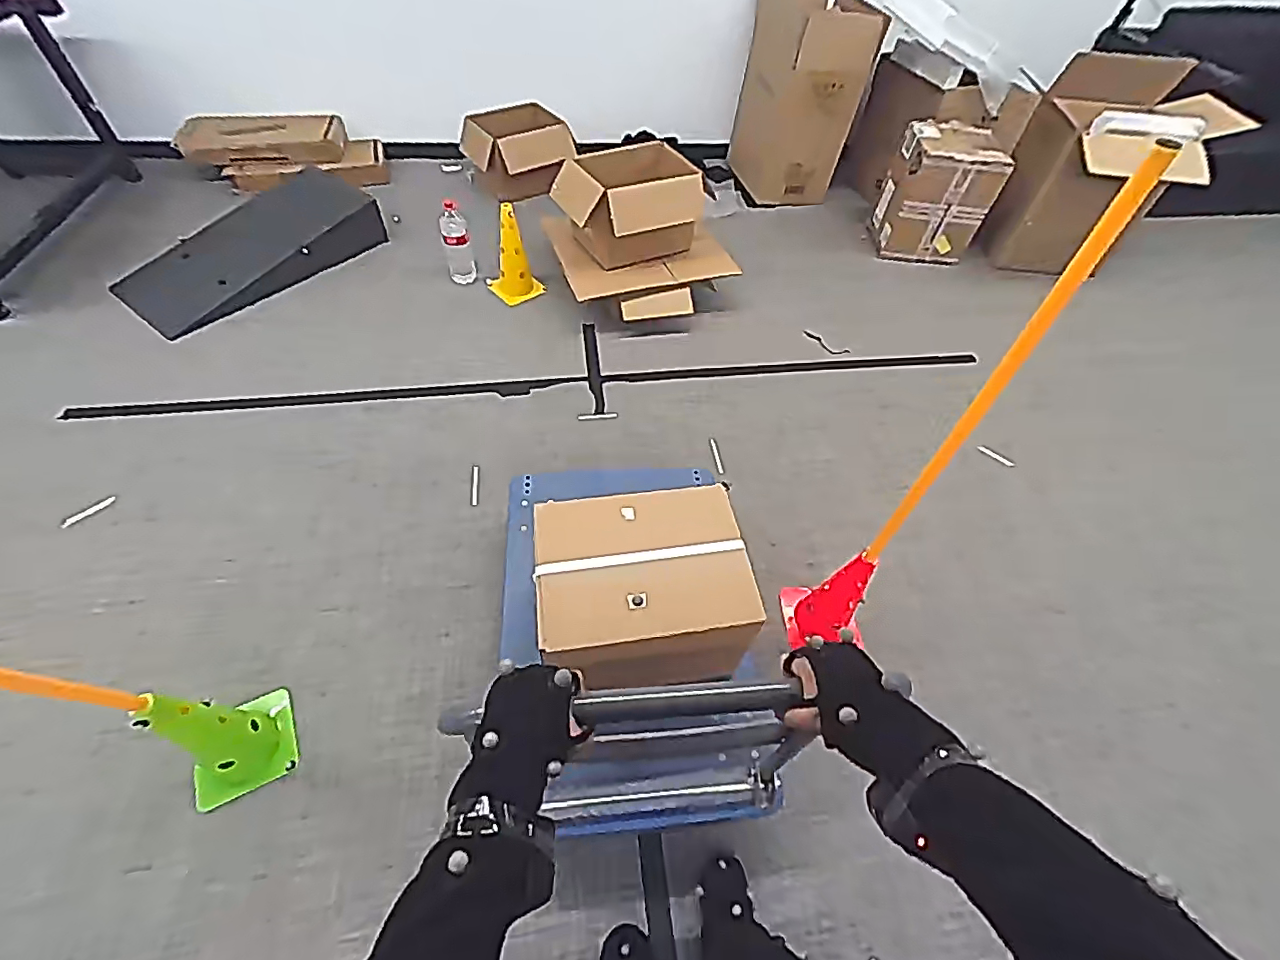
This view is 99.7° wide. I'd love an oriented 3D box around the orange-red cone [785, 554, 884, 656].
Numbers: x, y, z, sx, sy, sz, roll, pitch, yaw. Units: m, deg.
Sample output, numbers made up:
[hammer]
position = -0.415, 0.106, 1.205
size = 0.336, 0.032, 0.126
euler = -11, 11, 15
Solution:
[orange-red cone]
position = 0.520, 0.285, 1.354
size = 0.199, 0.360, 0.198
euler = 2, 53, -5
